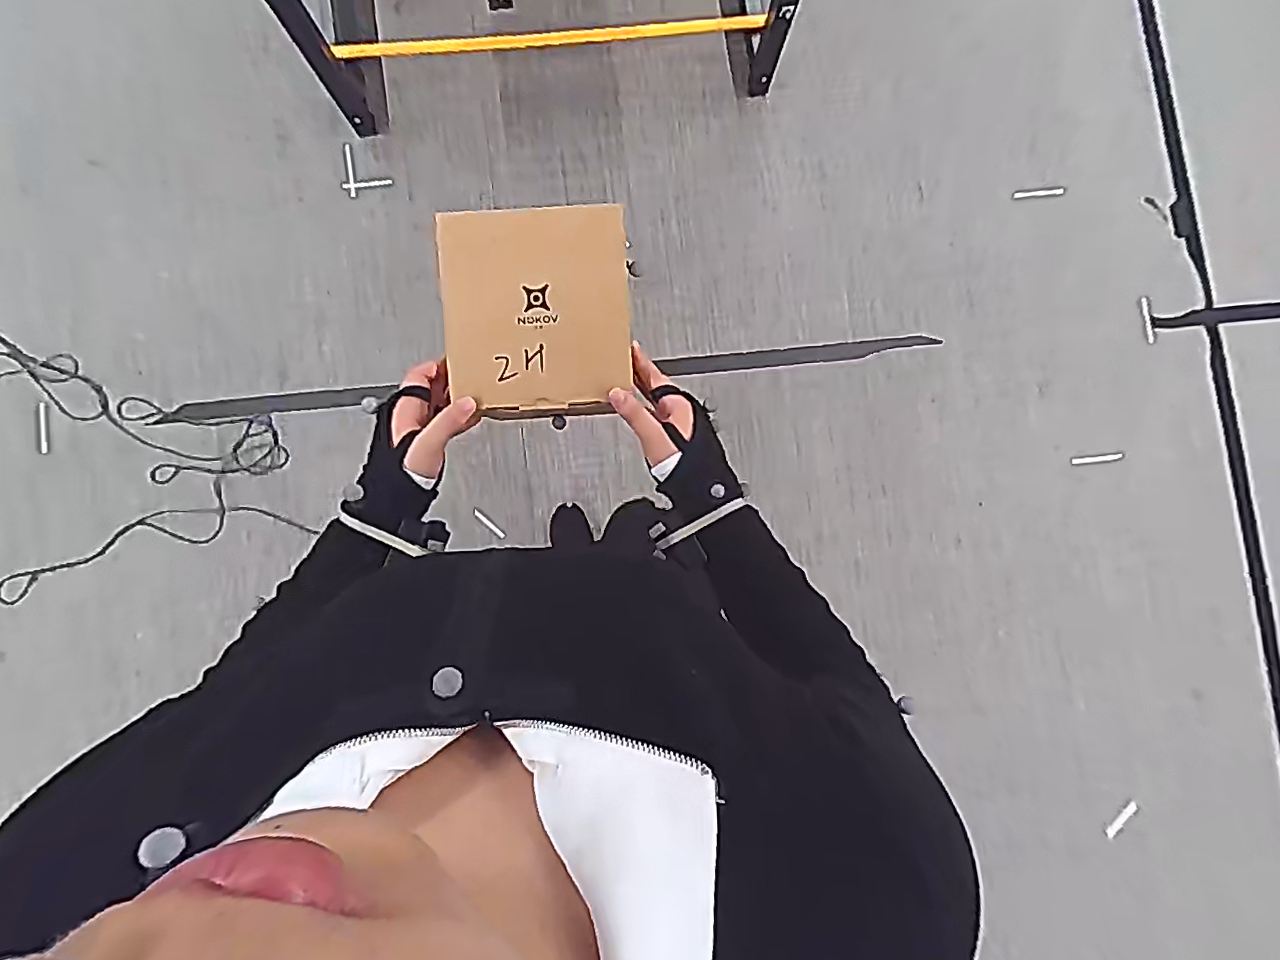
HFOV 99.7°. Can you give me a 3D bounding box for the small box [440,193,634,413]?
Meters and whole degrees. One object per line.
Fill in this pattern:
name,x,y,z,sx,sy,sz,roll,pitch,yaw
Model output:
small box,-0.093,-0.166,0.558,0.168,0.176,0.179,-3,93,-1
